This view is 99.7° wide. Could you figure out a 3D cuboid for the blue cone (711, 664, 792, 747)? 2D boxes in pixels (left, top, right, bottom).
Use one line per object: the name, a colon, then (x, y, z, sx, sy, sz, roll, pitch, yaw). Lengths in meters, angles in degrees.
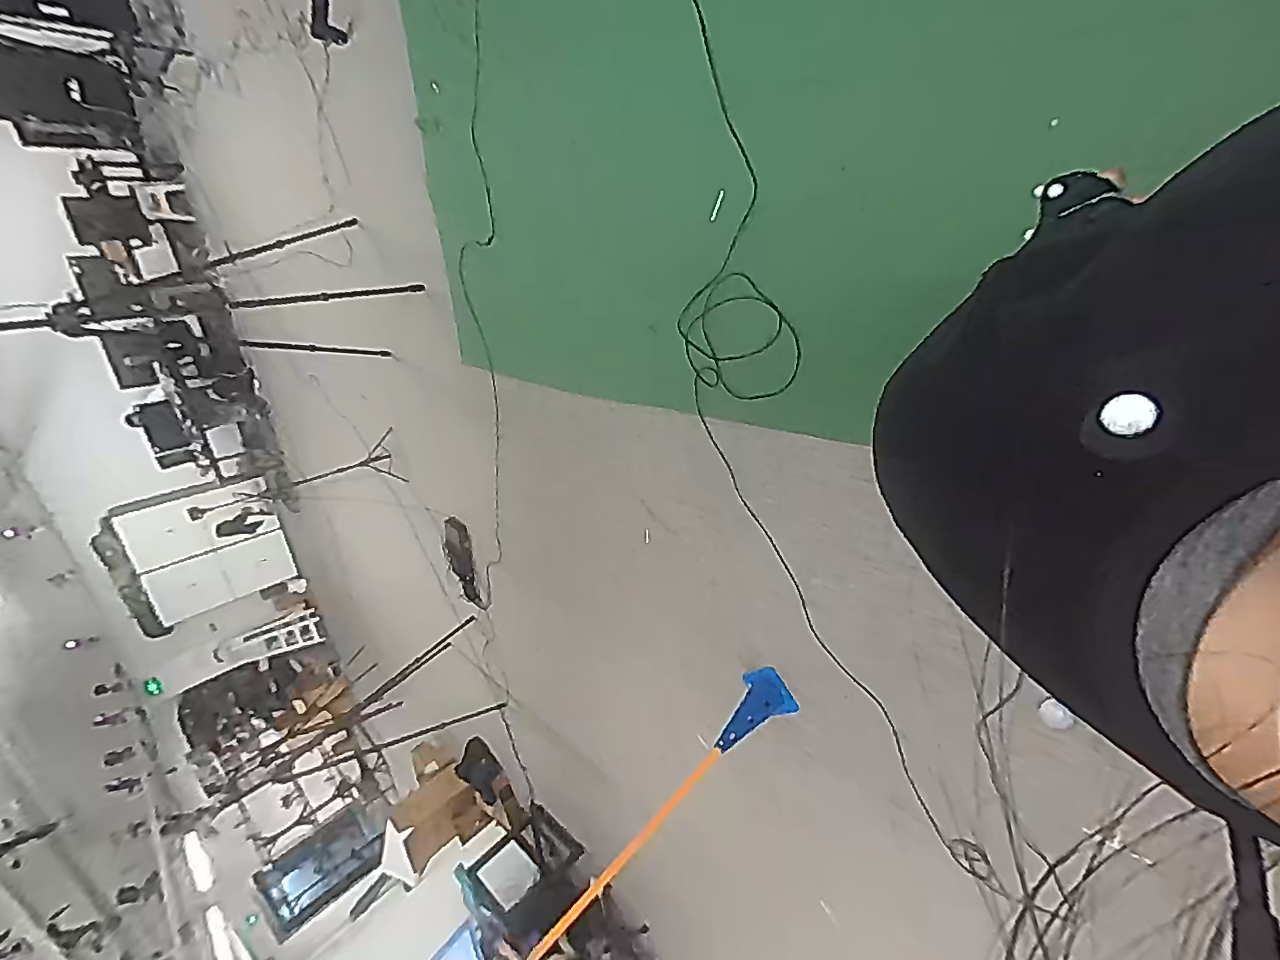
blue cone: (0.408, 0.914, 2.114, 0.192, 0.380, 0.193, 55, 141, 9)
